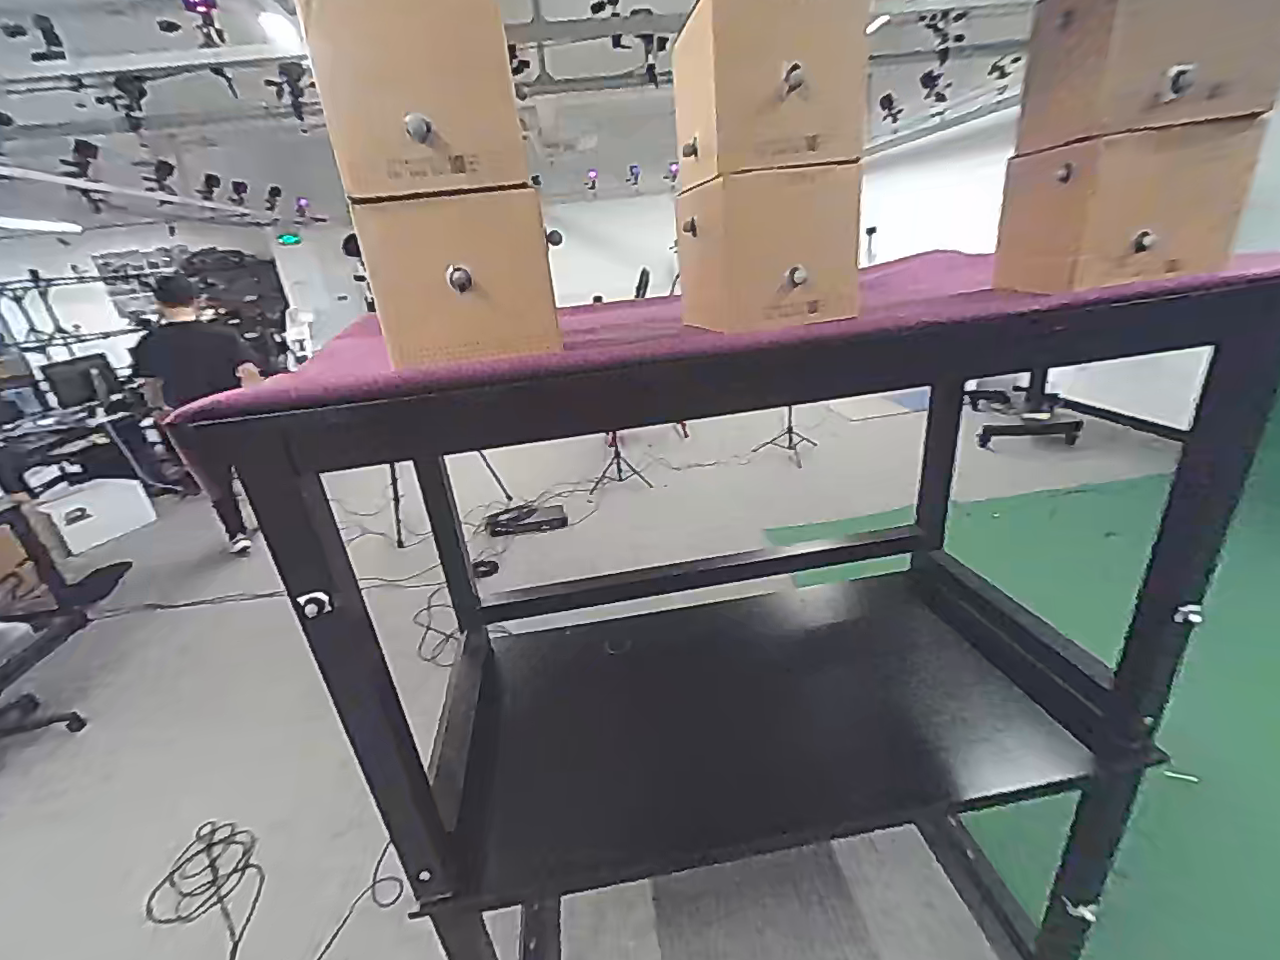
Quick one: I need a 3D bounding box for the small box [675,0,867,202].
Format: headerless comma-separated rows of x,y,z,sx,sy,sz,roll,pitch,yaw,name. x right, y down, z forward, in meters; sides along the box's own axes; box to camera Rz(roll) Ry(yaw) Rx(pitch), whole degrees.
0.144,-0.430,0.623,0.168,0.176,0.179,-9,22,-6,small box

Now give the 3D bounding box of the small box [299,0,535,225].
-0.203,-0.360,0.544,0.168,0.176,0.179,-10,22,-7,small box

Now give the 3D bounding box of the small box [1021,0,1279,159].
0.558,-0.462,0.596,0.168,0.176,0.179,-5,25,9,small box

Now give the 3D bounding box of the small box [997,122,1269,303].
0.576,-0.317,0.667,0.168,0.176,0.179,-5,24,5,small box
